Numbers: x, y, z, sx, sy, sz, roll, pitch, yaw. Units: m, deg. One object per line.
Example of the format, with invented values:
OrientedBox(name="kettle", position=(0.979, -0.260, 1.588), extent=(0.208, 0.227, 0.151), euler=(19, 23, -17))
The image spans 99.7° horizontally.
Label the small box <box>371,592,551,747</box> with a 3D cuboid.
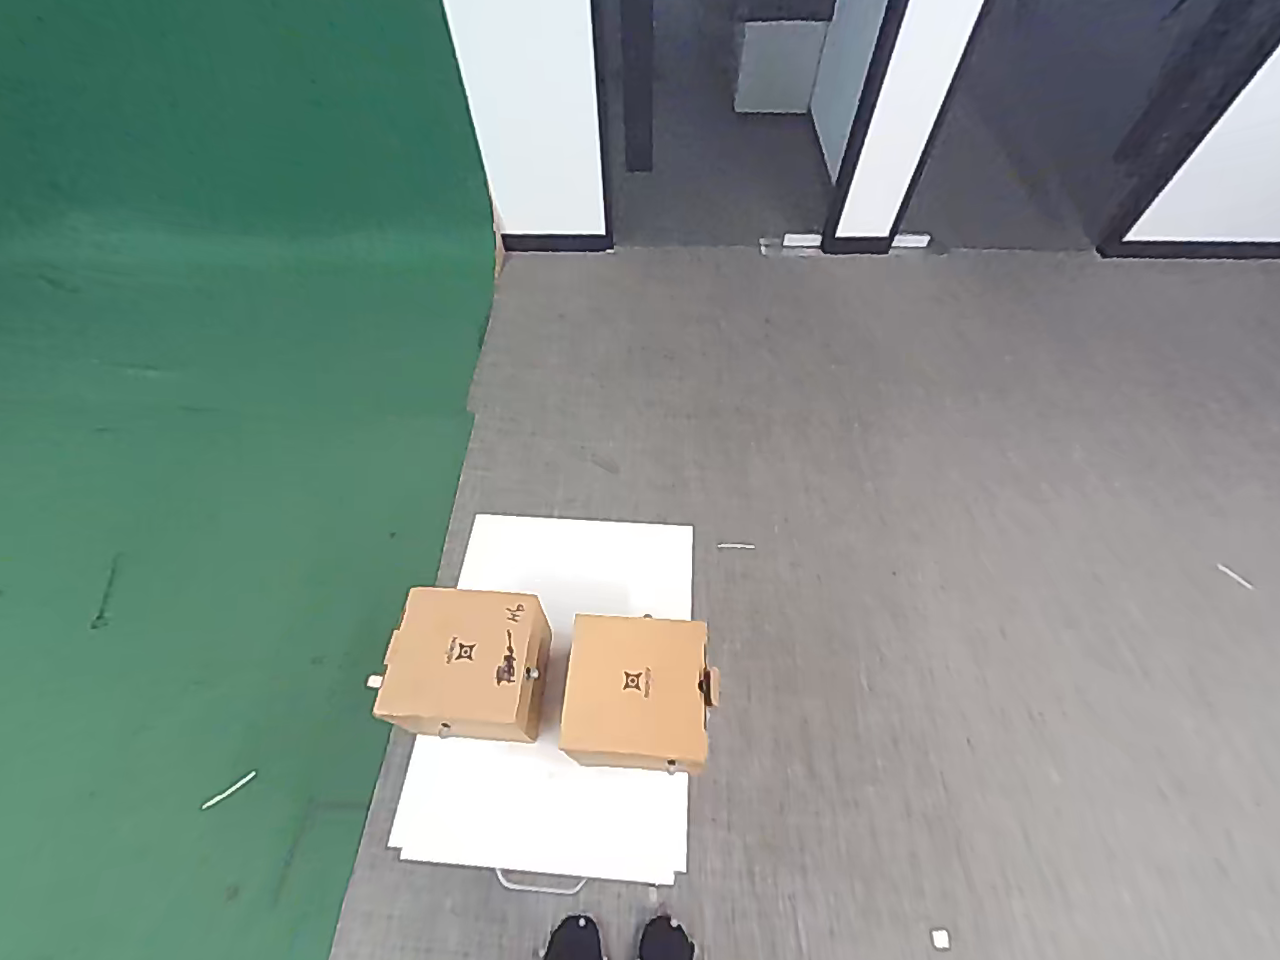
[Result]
OrientedBox(name="small box", position=(-0.233, 0.269, 0.756), extent=(0.179, 0.176, 0.168), euler=(3, 57, 2))
